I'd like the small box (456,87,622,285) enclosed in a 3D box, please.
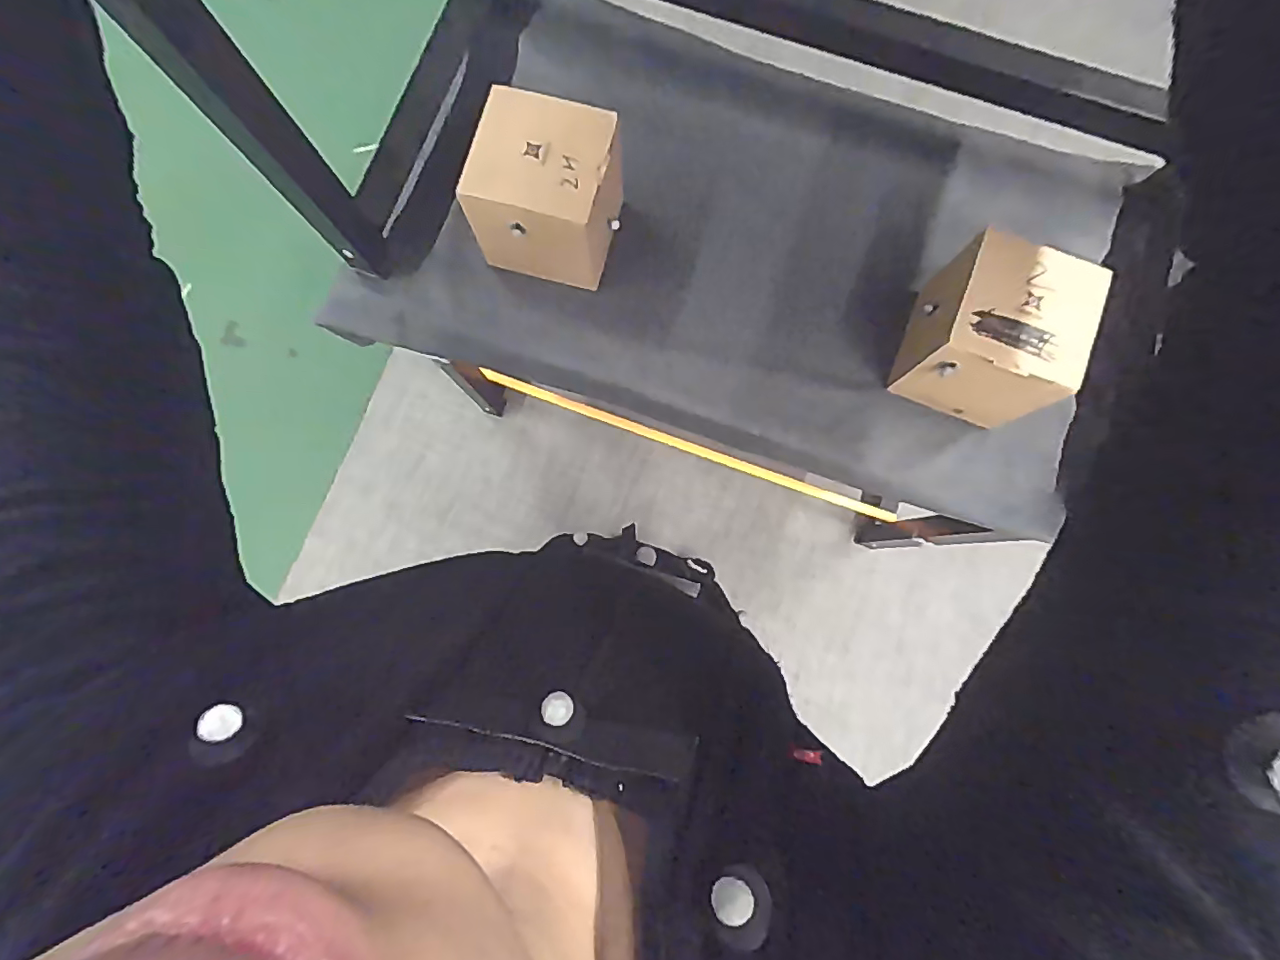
[{"bbox_3d":[-0.131,-0.406,0.774,0.179,0.176,0.168,15,82,1],"label":"small box"}]
